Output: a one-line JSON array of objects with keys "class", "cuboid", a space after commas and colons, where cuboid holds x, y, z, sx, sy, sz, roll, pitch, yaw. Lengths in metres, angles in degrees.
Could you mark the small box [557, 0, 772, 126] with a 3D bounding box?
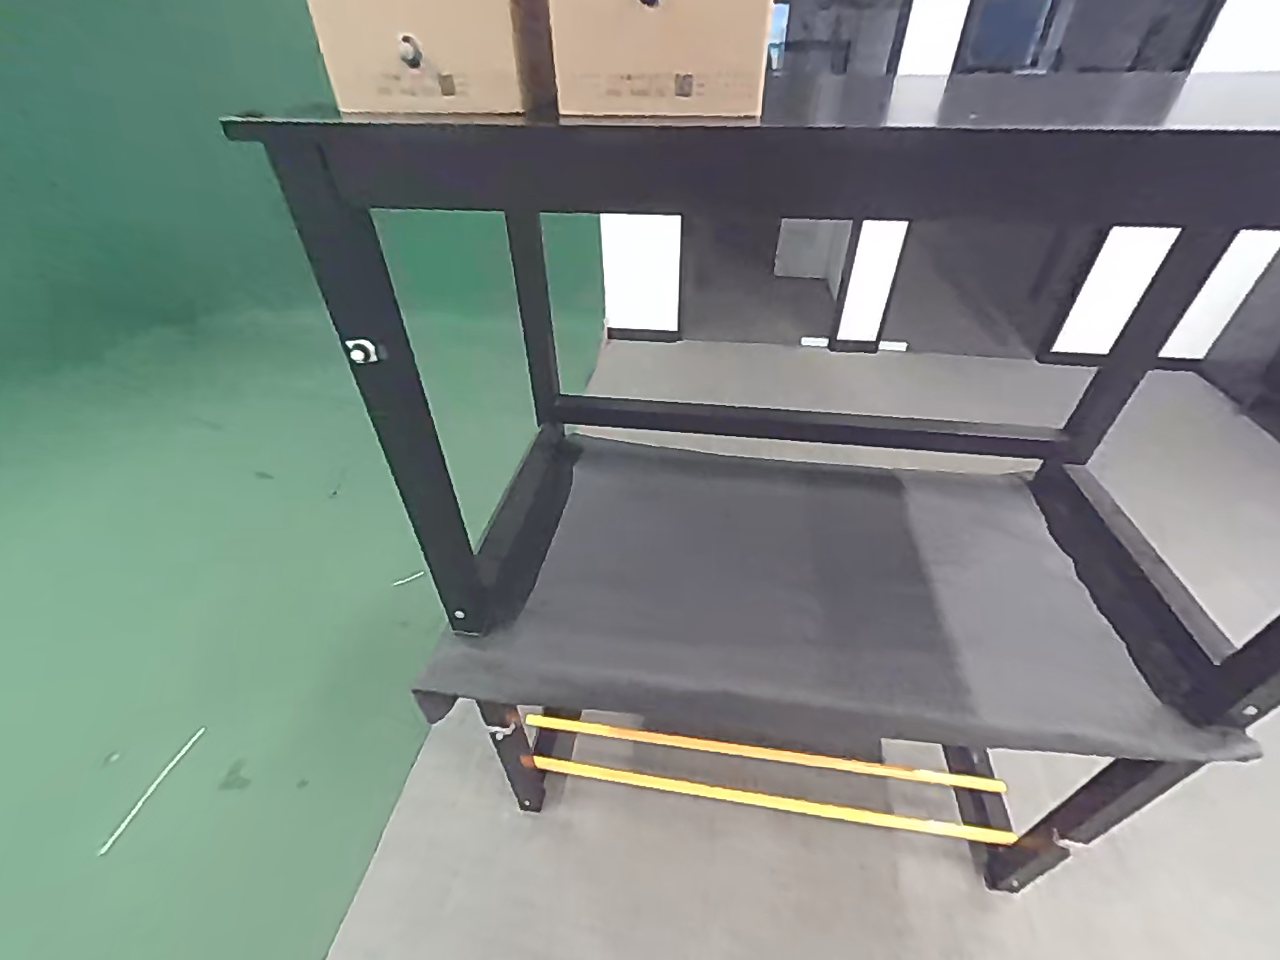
[{"class": "small box", "cuboid": [0.029, -0.412, 0.464, 0.168, 0.176, 0.179, 6, 39, 8]}]
